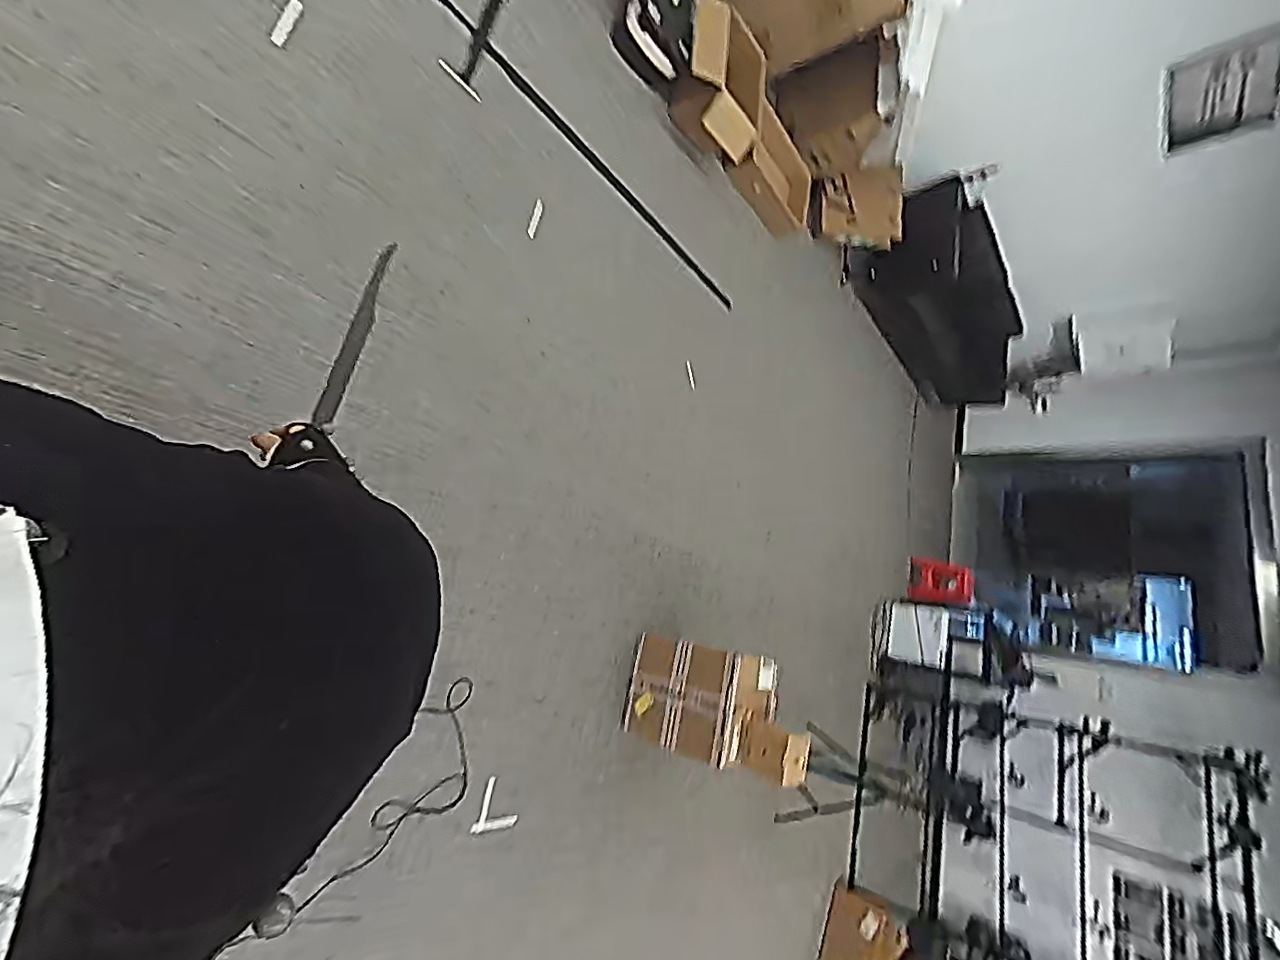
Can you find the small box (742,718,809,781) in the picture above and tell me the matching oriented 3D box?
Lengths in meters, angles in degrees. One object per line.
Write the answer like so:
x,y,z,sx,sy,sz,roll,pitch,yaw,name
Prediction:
0.498,0.990,1.995,0.179,0.176,0.168,26,72,-42,small box
